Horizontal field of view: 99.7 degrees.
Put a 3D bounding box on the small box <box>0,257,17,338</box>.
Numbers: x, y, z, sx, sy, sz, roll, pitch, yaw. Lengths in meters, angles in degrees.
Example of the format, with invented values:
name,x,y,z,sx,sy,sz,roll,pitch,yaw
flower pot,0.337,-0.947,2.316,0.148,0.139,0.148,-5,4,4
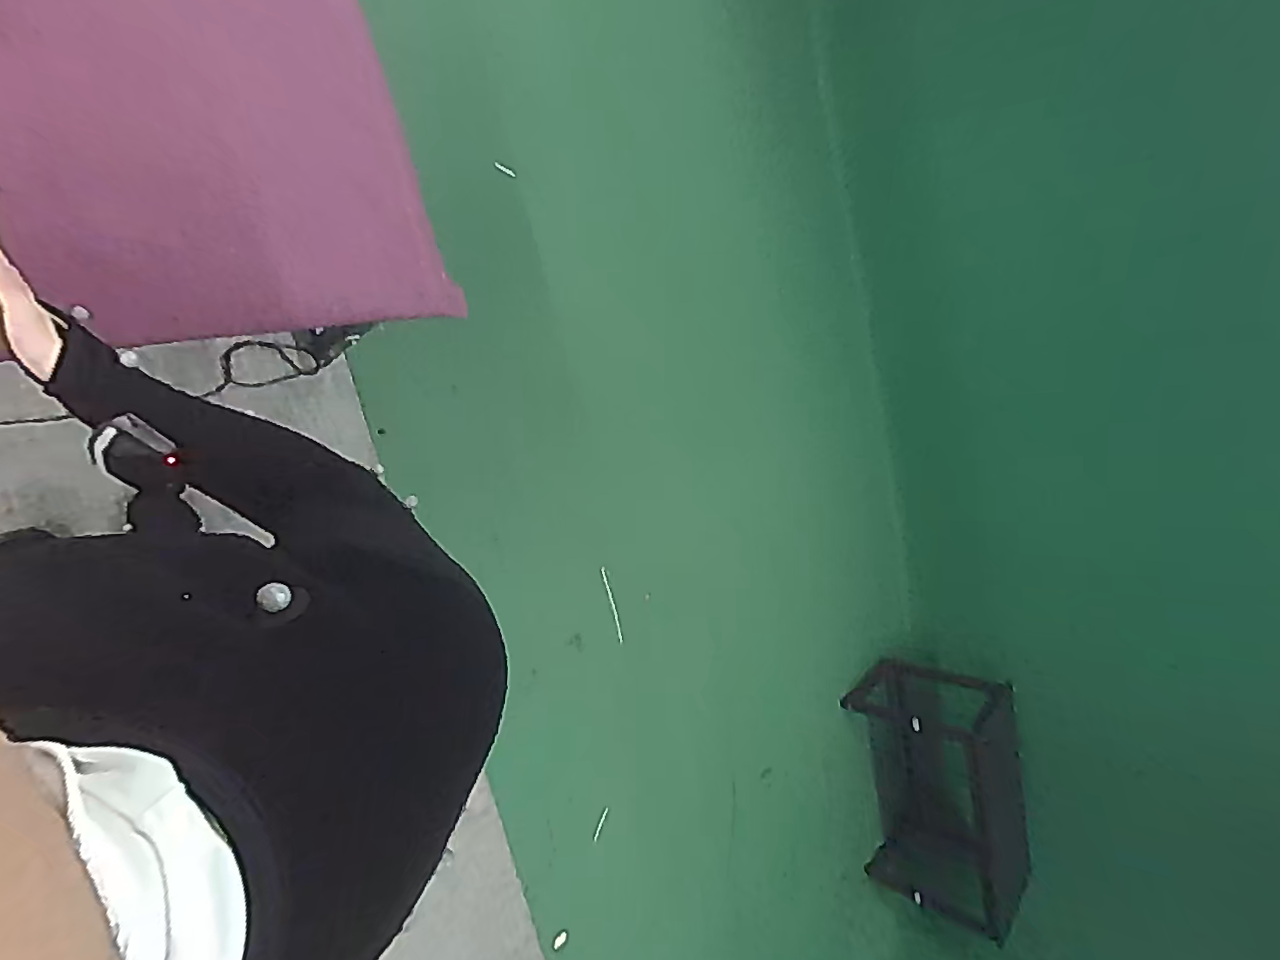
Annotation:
name,x,y,z,sx,sy,sz,roll,pitch,yaw
small box,-0.660,-0.214,0.436,0.168,0.176,0.179,-15,102,-40
